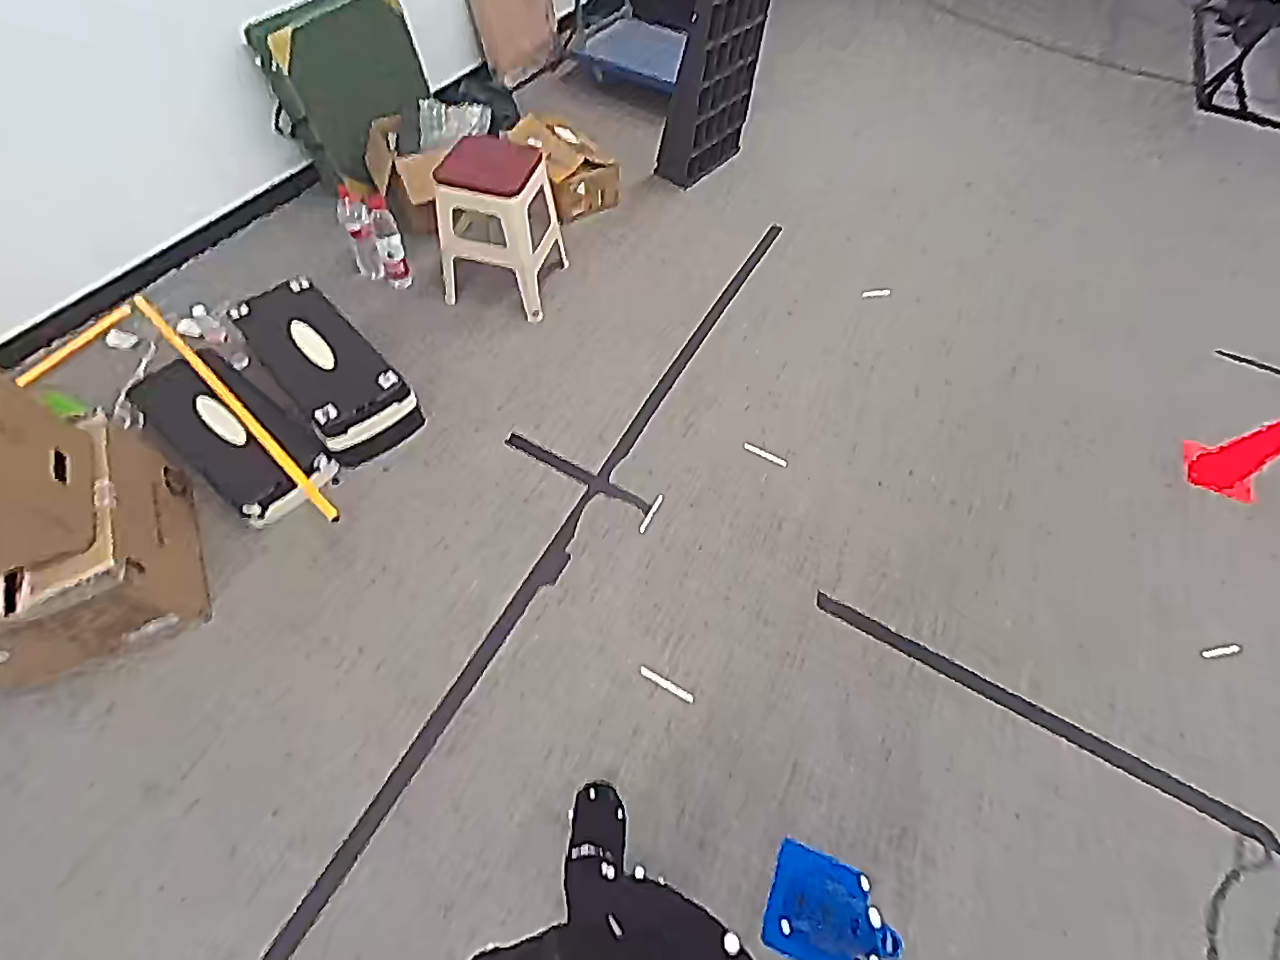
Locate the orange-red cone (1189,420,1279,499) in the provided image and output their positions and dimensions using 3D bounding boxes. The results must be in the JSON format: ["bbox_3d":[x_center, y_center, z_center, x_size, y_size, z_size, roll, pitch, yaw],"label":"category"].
[{"bbox_3d":[1.959,-0.132,1.668,0.199,0.360,0.198,22,59,12],"label":"orange-red cone"}]

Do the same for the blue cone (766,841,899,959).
[{"bbox_3d":[0.377,0.806,0.997,0.193,0.380,0.192,22,59,11],"label":"blue cone"}]
